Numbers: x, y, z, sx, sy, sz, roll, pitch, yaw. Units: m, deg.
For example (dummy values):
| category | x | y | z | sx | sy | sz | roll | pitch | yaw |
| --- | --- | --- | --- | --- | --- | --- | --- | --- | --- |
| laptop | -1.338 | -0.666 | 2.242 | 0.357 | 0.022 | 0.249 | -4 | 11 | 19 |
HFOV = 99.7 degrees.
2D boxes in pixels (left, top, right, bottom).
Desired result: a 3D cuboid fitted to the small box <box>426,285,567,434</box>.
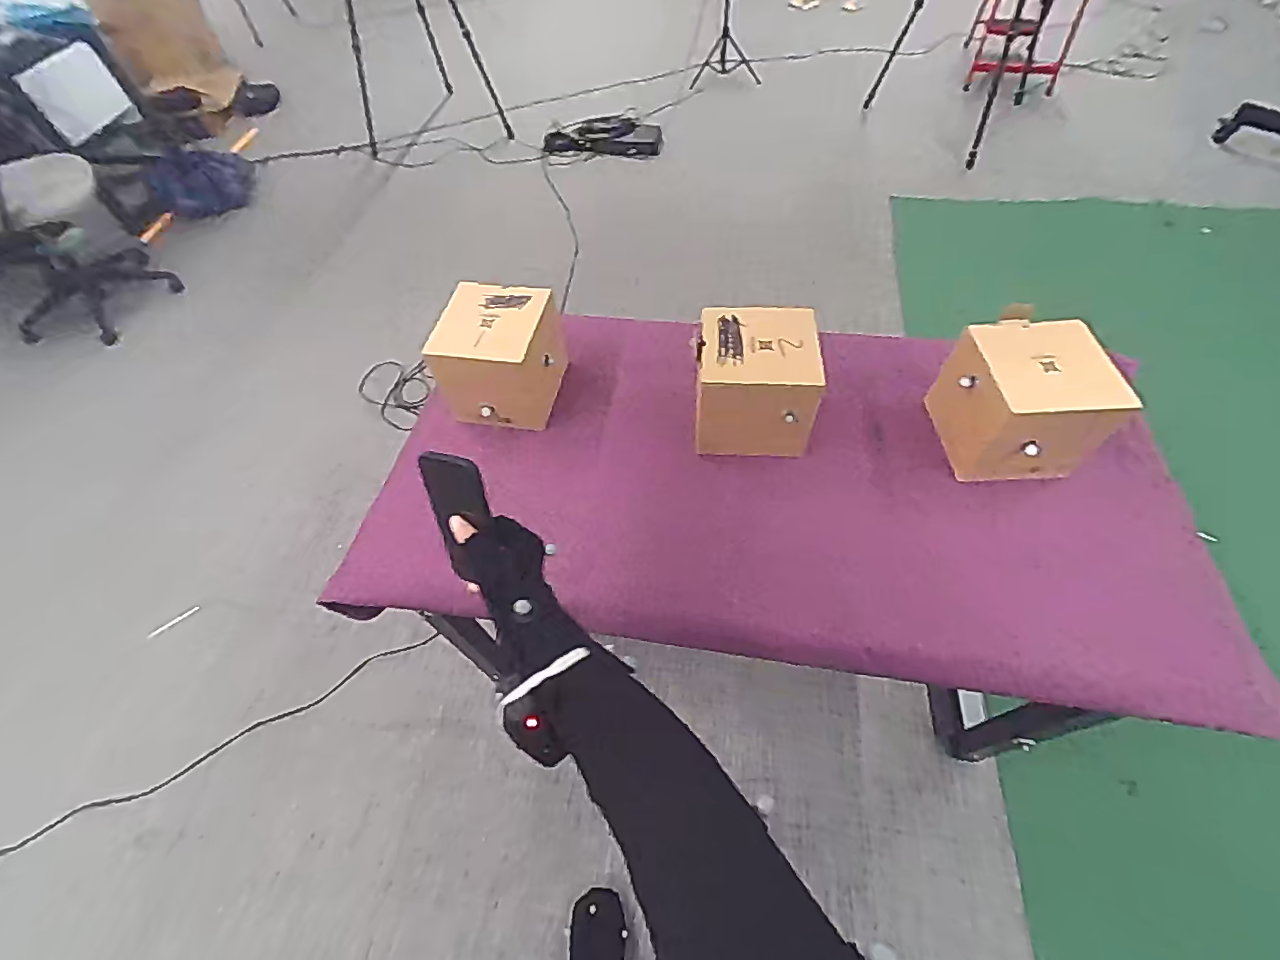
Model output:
| category | x | y | z | sx | sy | sz | roll | pitch | yaw |
| --- | --- | --- | --- | --- | --- | --- | --- | --- | --- |
| small box | -0.230 | -0.205 | 0.927 | 0.168 | 0.176 | 0.179 | 8 | 58 | 9 |

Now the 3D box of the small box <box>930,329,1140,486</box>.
| category | x | y | z | sx | sy | sz | roll | pitch | yaw |
| --- | --- | --- | --- | --- | --- | --- | --- | --- | --- |
| small box | 0.569 | -0.101 | 0.811 | 0.168 | 0.176 | 0.179 | -2 | 55 | 3 |
